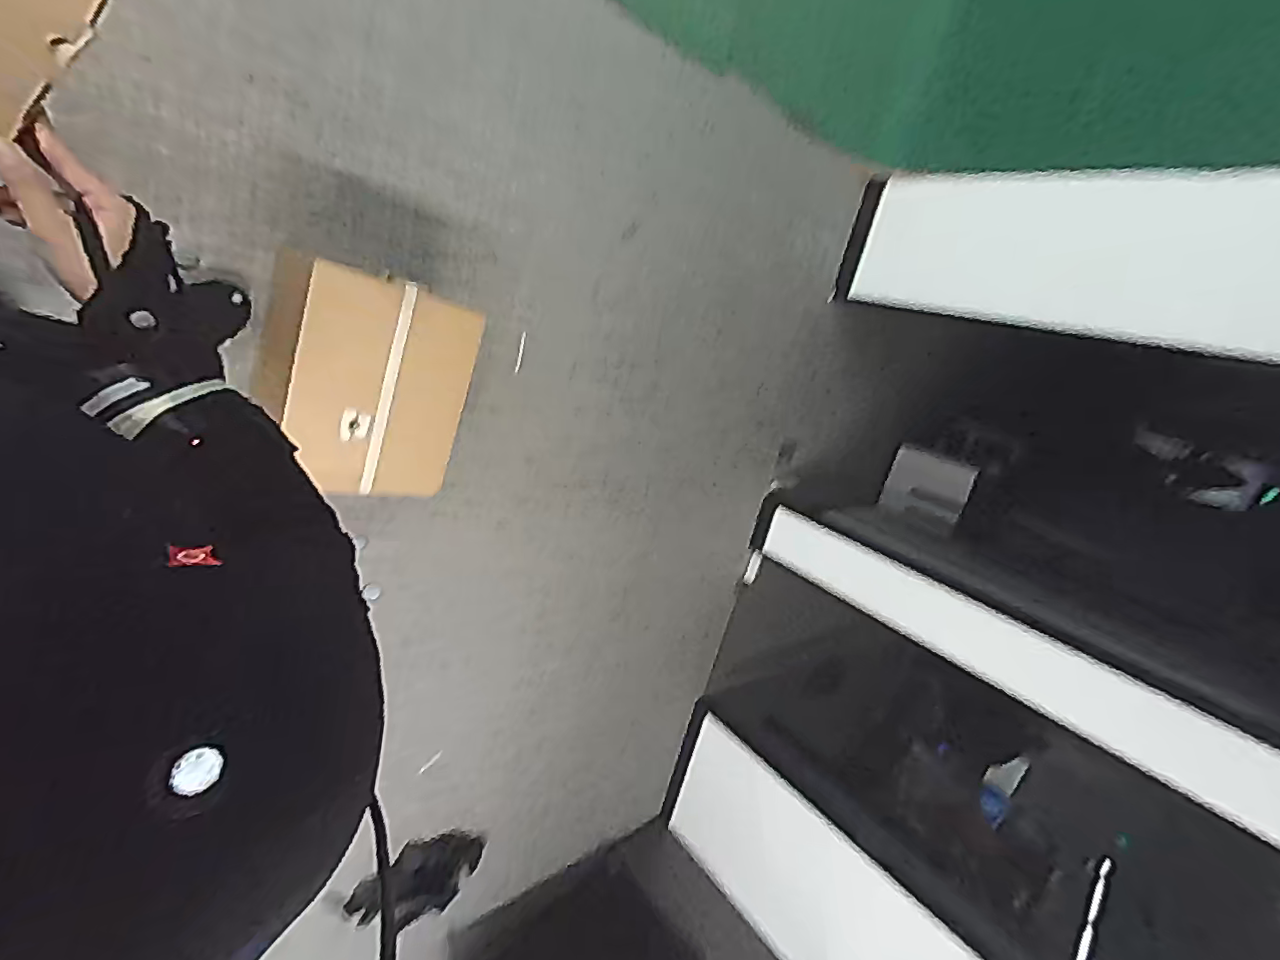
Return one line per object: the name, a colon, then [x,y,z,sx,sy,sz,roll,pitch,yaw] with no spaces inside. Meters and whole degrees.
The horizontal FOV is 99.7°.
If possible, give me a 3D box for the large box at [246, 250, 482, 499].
large box: [-0.579,-0.210,1.122,0.320,0.320,0.408,8,107,-45]
